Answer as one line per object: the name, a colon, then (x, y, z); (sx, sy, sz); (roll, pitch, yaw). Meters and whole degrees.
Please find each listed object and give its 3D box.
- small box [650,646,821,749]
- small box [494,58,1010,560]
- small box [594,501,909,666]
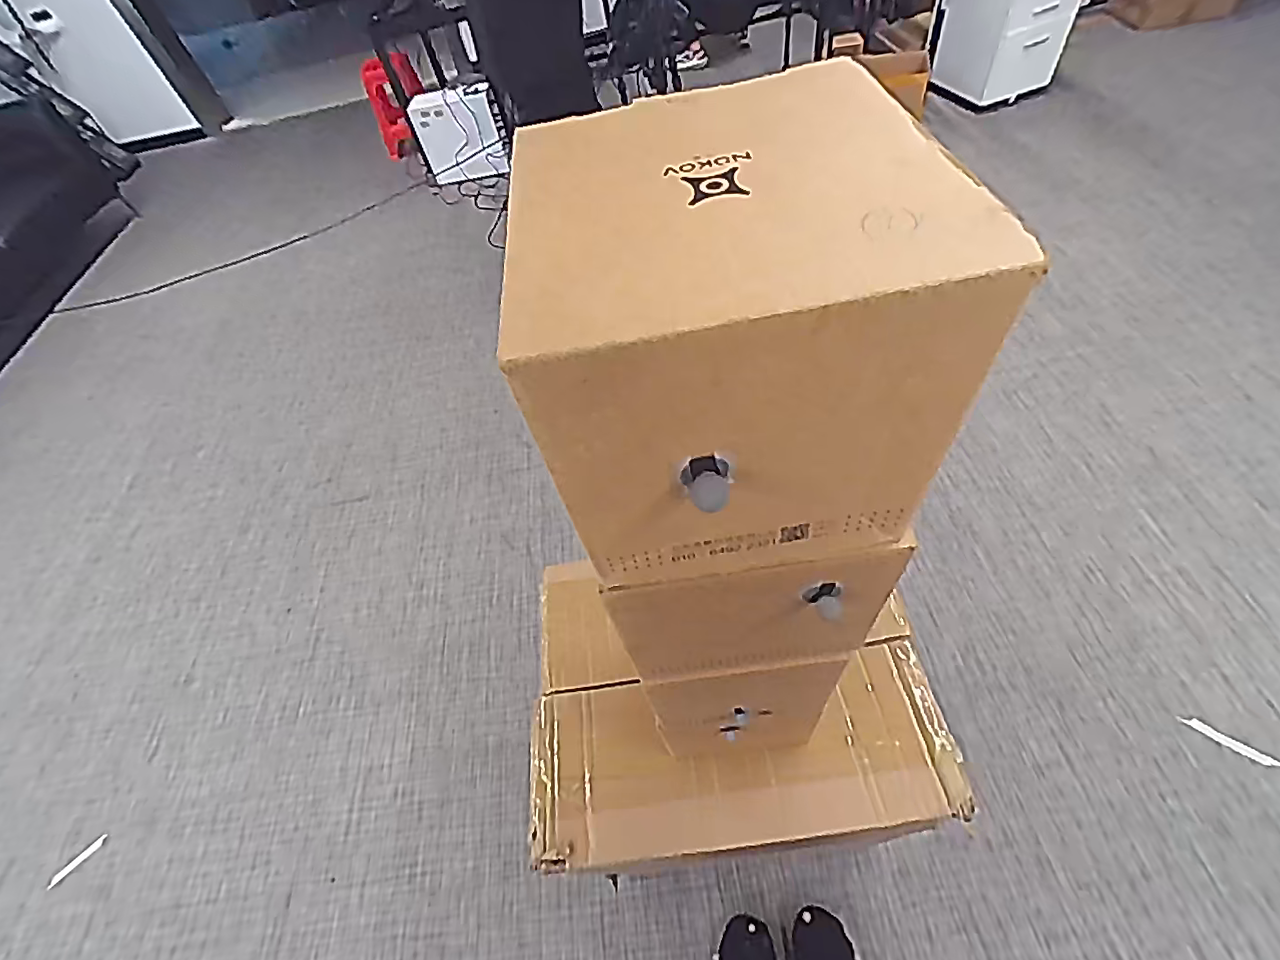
small box: (0.108, 0.221, 0.666); (0.179, 0.176, 0.168); (-9, 53, 4)
small box: (0.036, -0.073, 0.279); (0.168, 0.176, 0.179); (-11, 53, 3)
small box: (0.065, 0.026, 0.405); (0.179, 0.176, 0.168); (-9, 53, 4)
